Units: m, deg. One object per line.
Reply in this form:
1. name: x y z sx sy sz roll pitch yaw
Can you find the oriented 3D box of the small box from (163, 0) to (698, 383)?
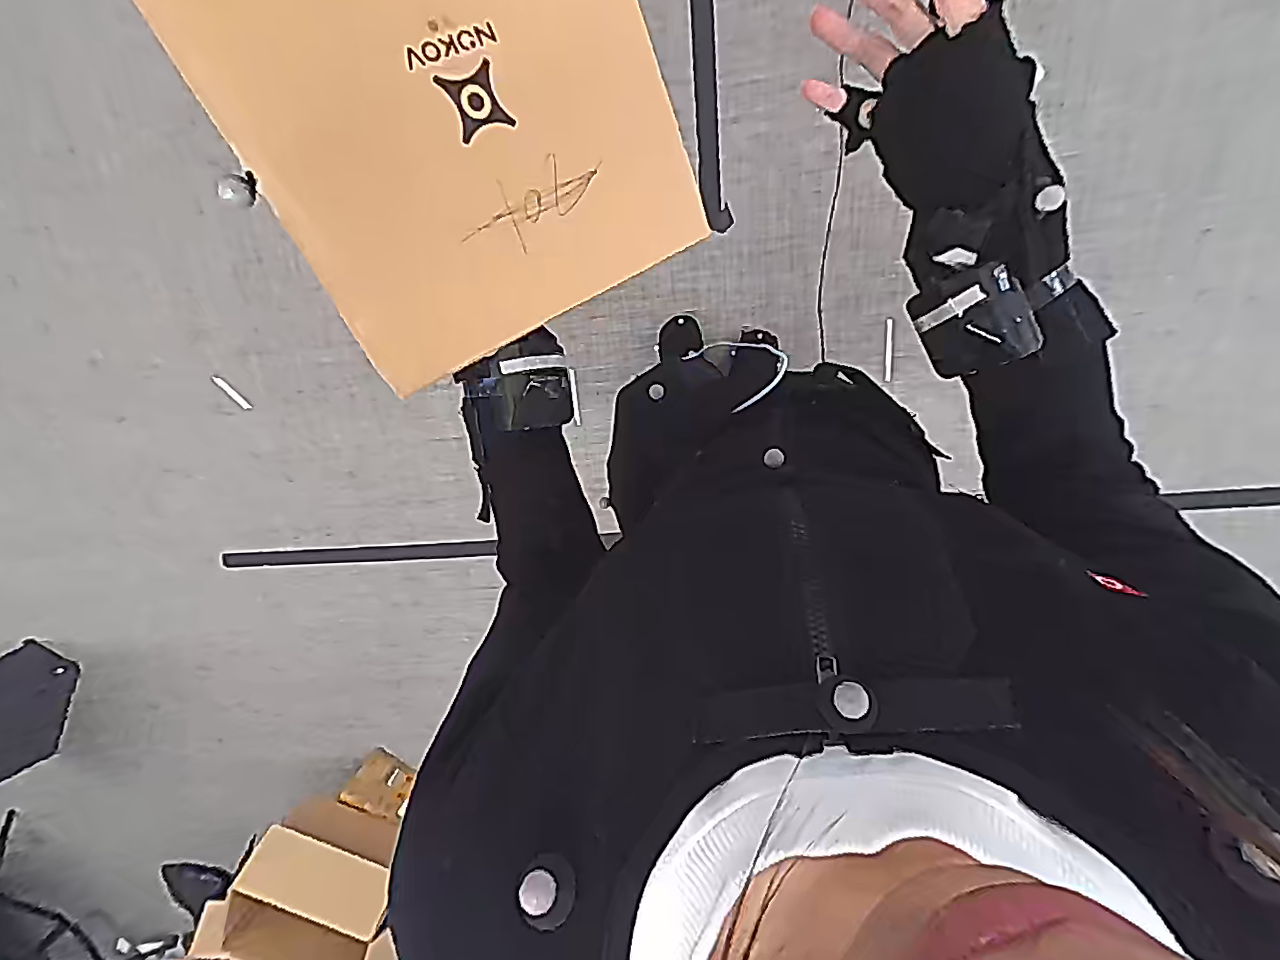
1. small box: -0.103 -0.169 0.287 0.168 0.176 0.179 -33 117 -16
